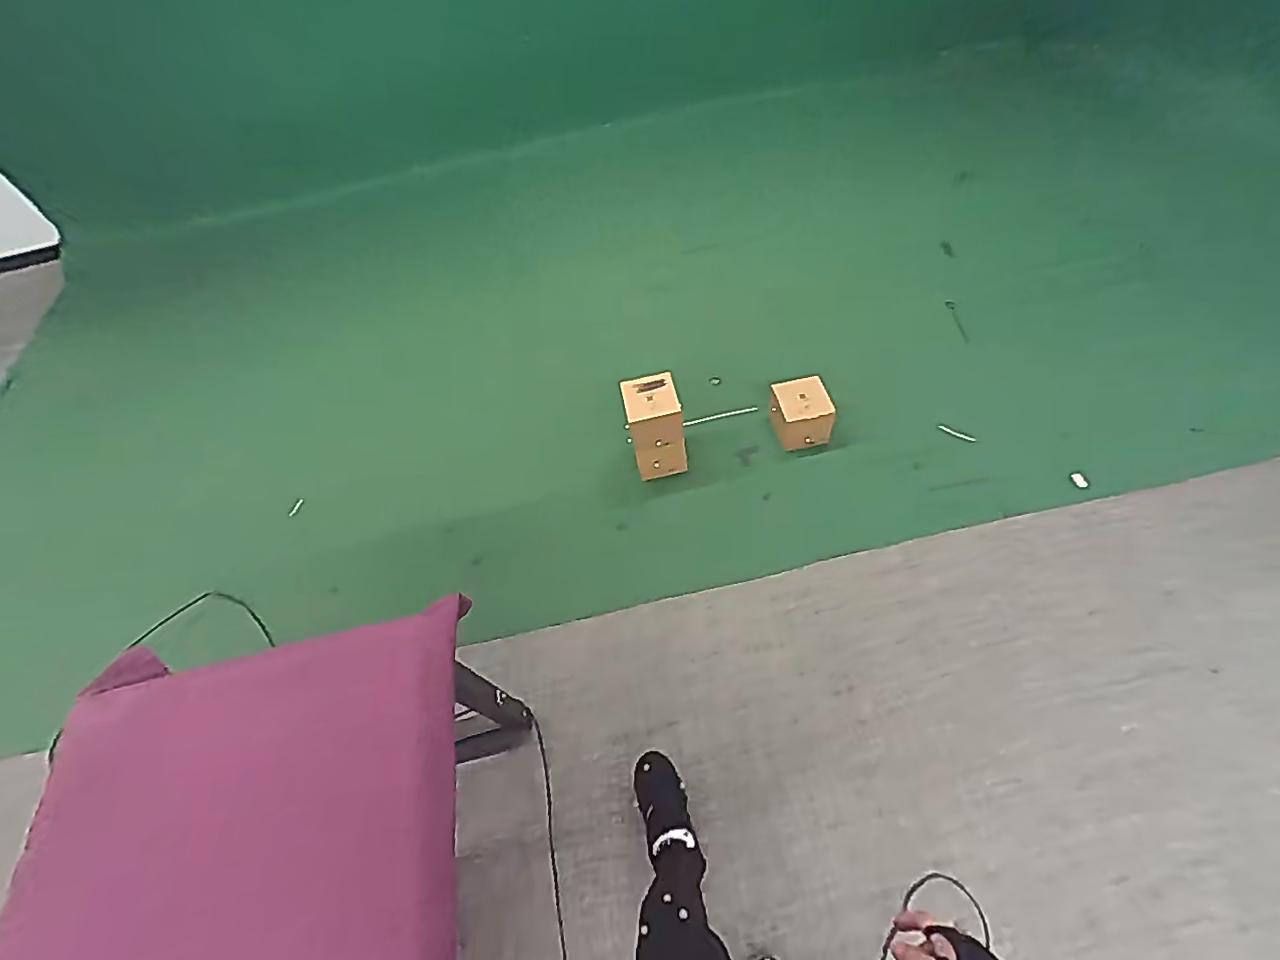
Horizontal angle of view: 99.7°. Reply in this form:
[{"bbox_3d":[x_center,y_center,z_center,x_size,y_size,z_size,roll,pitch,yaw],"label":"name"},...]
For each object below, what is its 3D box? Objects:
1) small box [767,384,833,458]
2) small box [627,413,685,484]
[{"bbox_3d":[0.551,-0.203,1.887,0.168,0.176,0.179,-11,55,0],"label":"small box"},{"bbox_3d":[0.059,-0.101,1.888,0.168,0.176,0.179,-13,54,0],"label":"small box"}]
